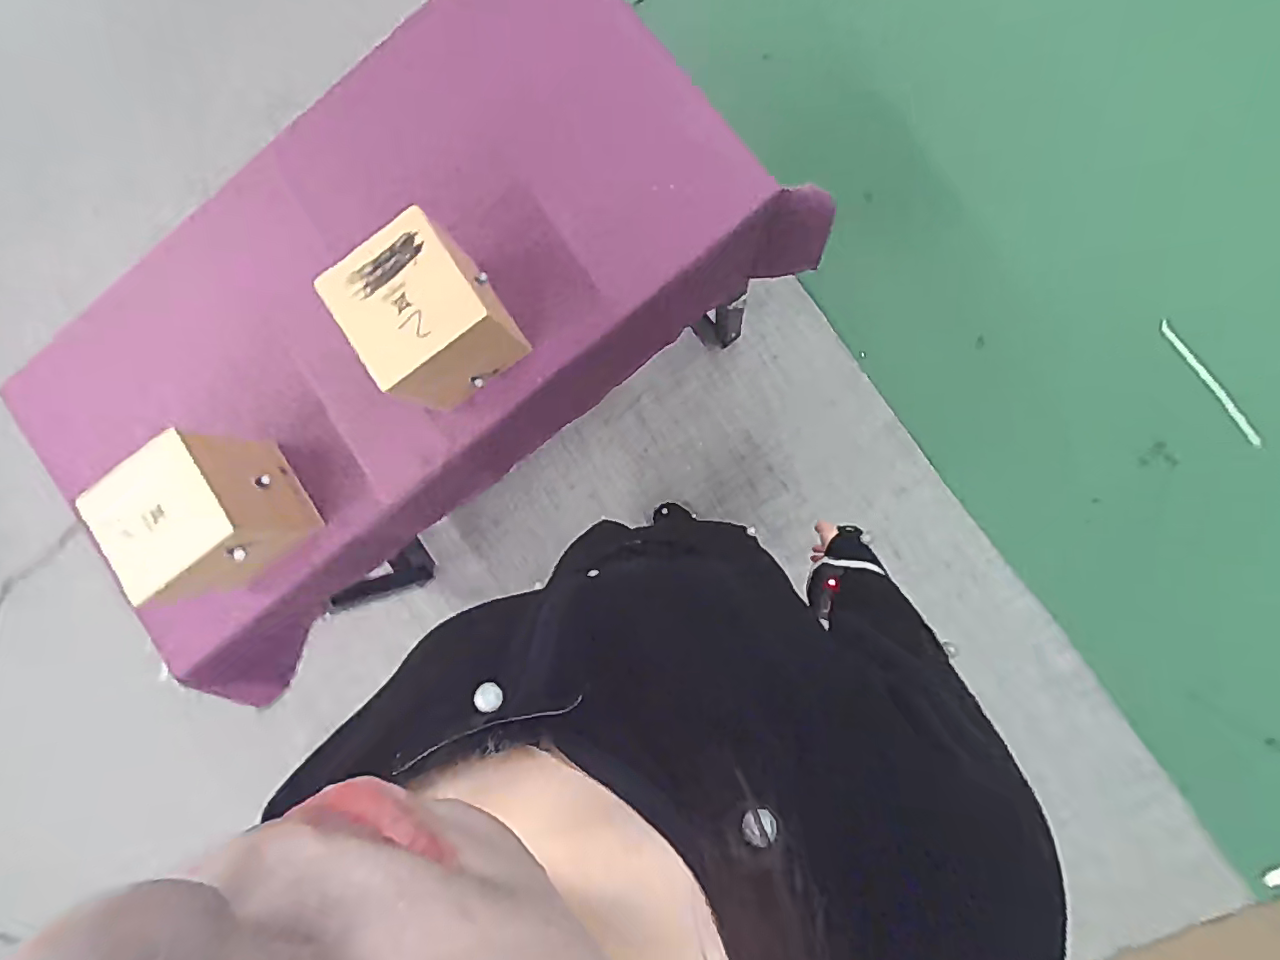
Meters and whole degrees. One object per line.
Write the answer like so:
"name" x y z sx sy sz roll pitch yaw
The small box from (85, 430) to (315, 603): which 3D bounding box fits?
"small box" -0.615 0.049 0.783 0.179 0.176 0.168 -35 83 5
